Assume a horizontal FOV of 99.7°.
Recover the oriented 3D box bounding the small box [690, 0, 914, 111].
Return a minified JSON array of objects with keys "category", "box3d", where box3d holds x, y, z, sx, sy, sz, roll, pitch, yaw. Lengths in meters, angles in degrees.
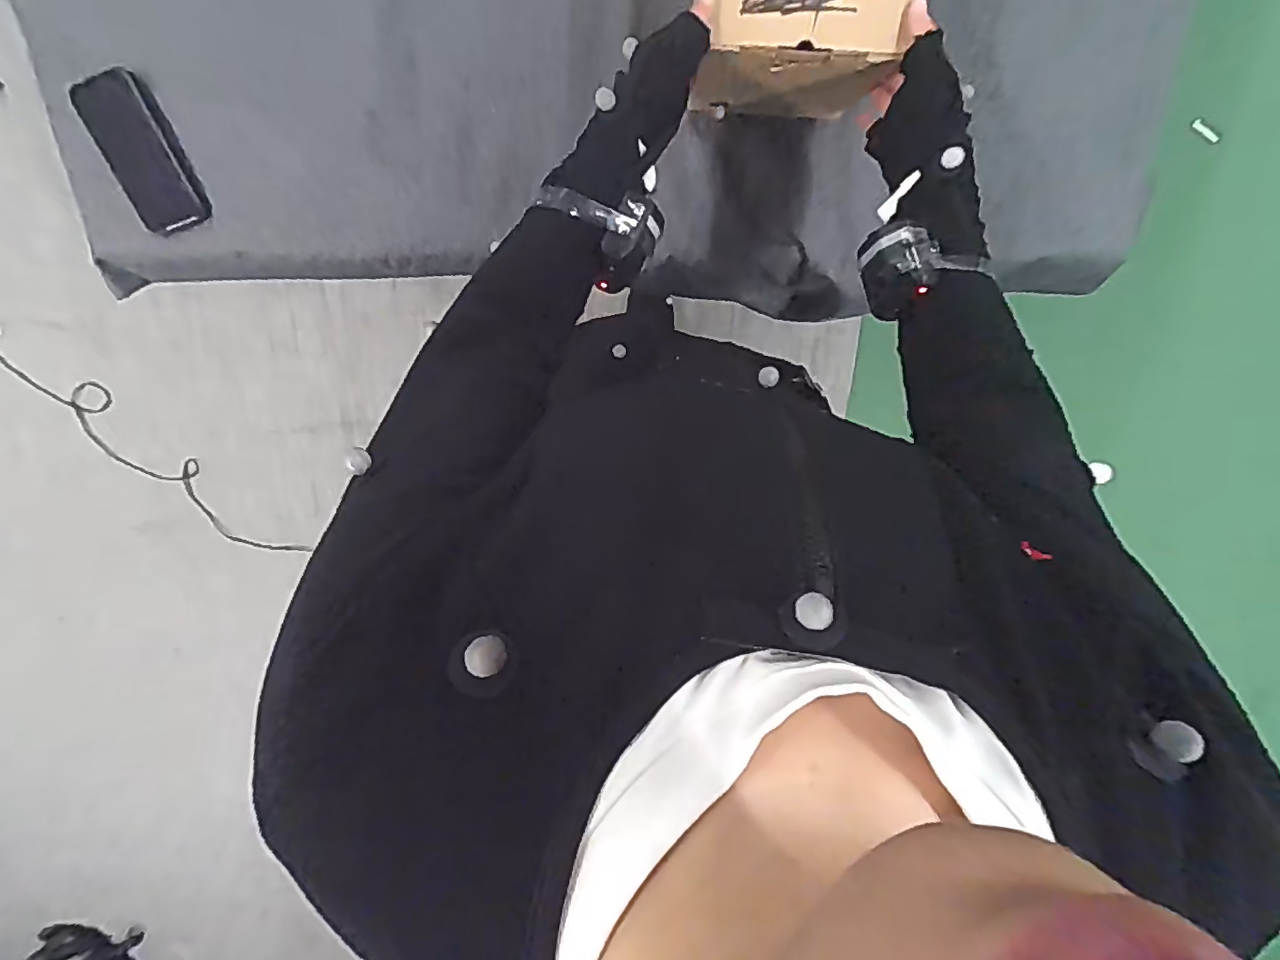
[{"category":"small box","box3d":[0.138,-0.454,0.482,0.168,0.176,0.179,3,109,-2]}]
